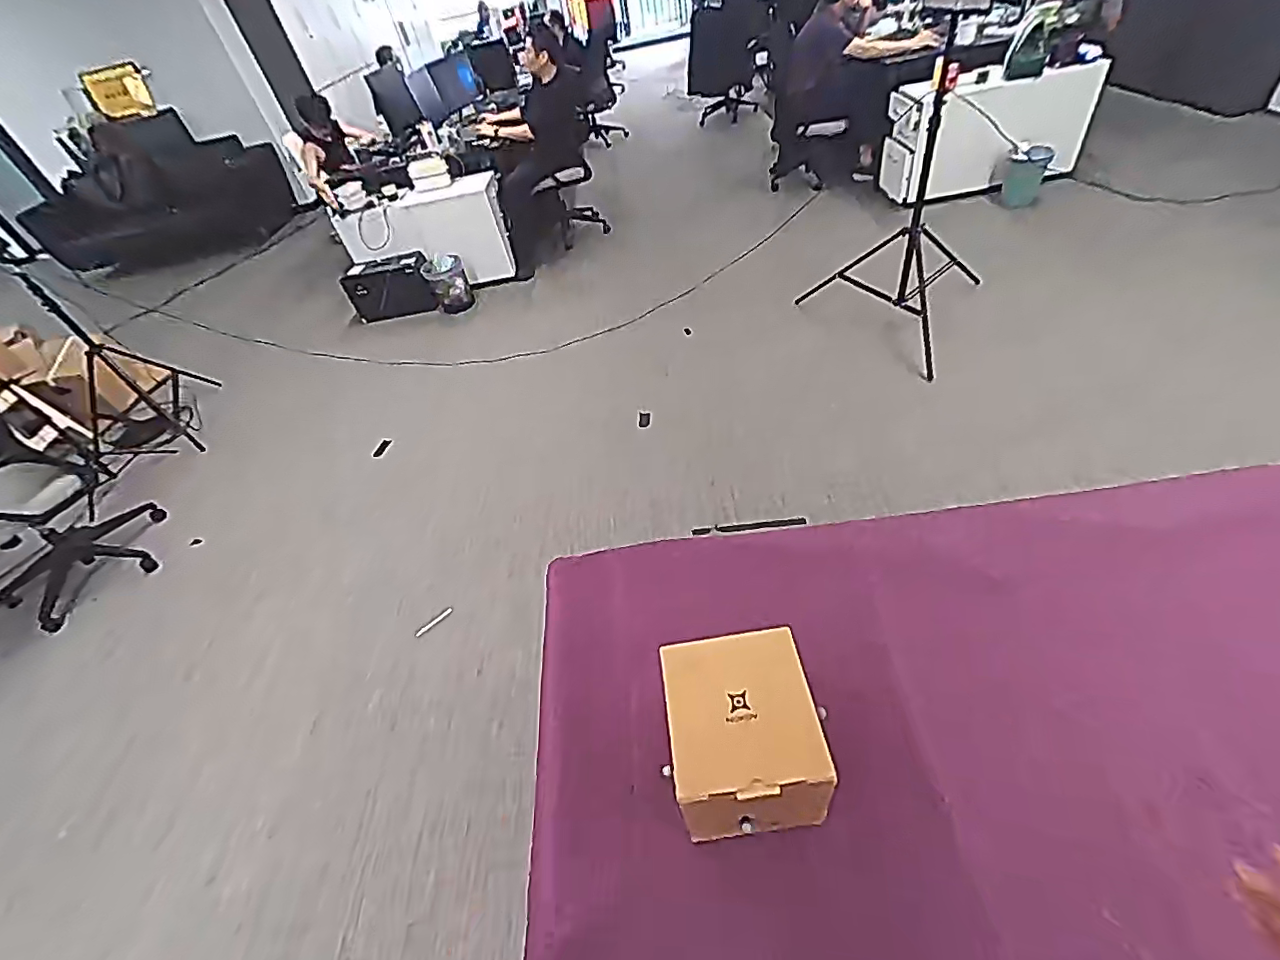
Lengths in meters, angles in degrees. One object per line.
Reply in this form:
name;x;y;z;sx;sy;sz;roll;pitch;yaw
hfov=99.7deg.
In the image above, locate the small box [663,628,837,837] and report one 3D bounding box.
small box;0.125;0.311;0.667;0.168;0.176;0.179;-10;45;2
